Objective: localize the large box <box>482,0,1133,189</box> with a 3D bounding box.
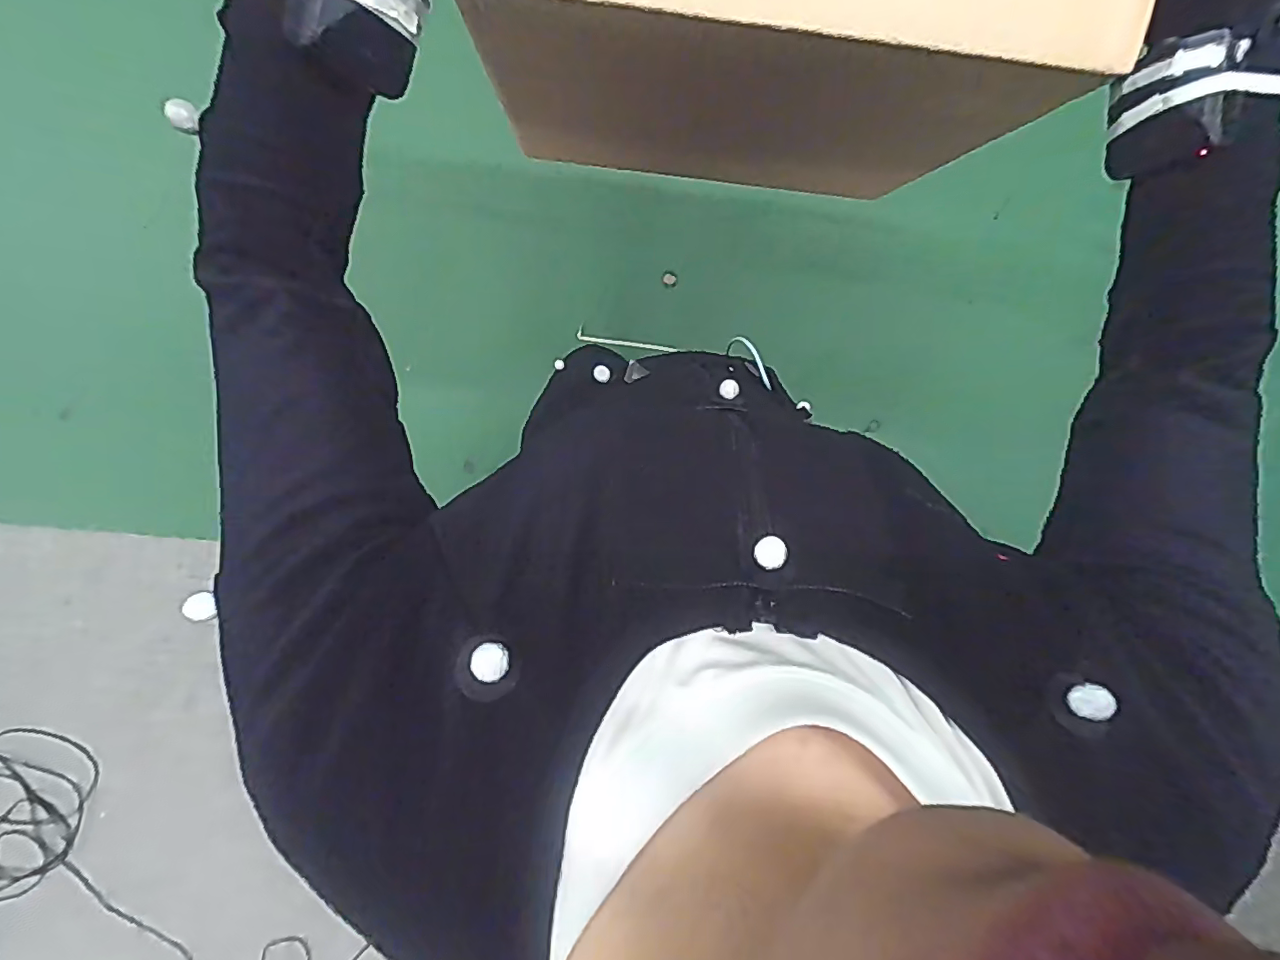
[{"bbox_3d":[0.097,-0.453,0.423,0.408,0.320,0.320,4,105,-6],"label":"large box"}]
